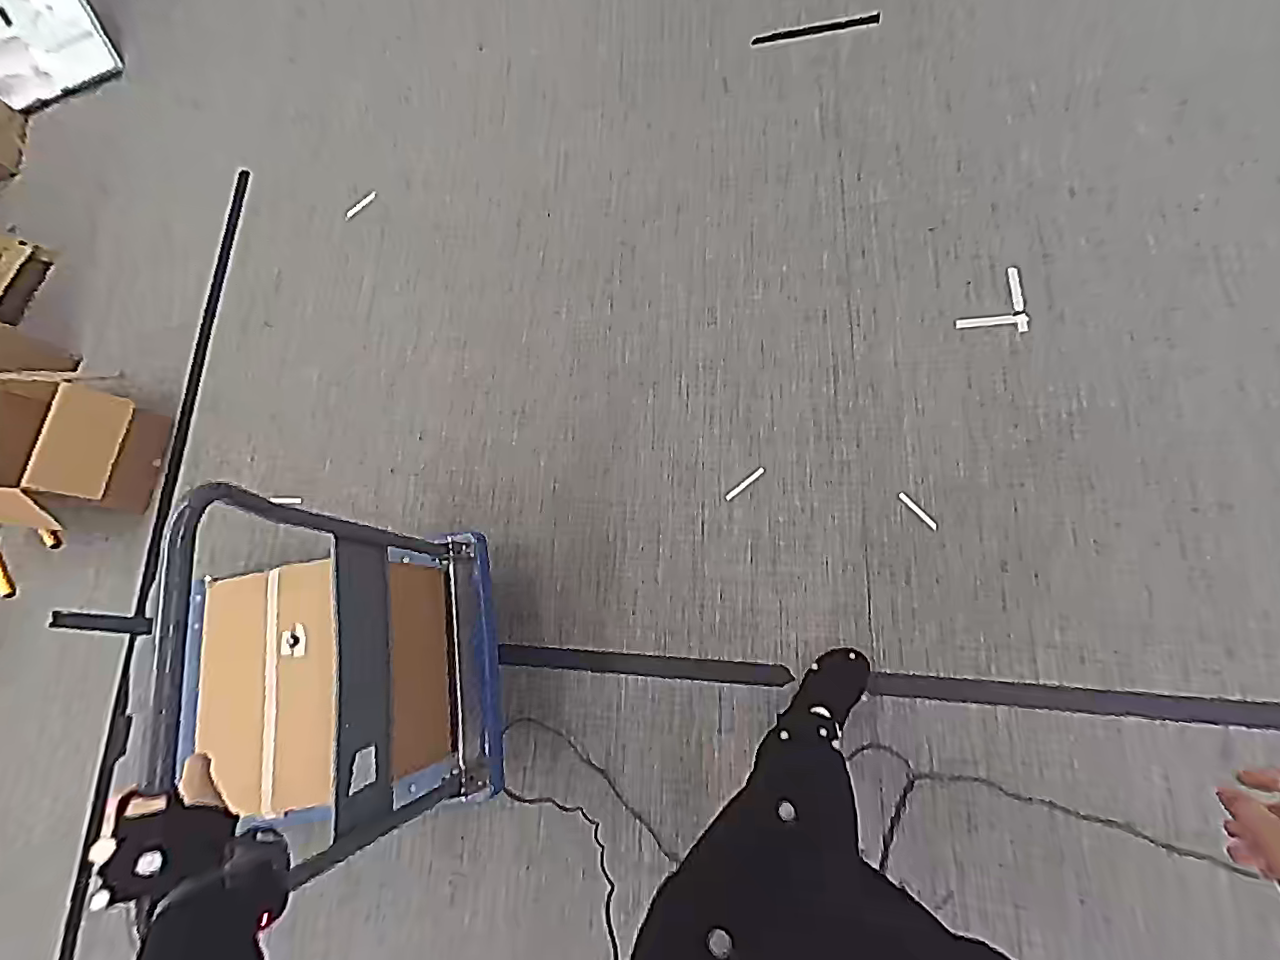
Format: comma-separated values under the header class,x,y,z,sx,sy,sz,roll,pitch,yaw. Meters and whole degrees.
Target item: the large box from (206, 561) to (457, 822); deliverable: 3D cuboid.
class,x,y,z,sx,sy,sz,roll,pitch,yaw
large box,-0.595,0.404,1.092,0.320,0.320,0.408,-11,73,8
